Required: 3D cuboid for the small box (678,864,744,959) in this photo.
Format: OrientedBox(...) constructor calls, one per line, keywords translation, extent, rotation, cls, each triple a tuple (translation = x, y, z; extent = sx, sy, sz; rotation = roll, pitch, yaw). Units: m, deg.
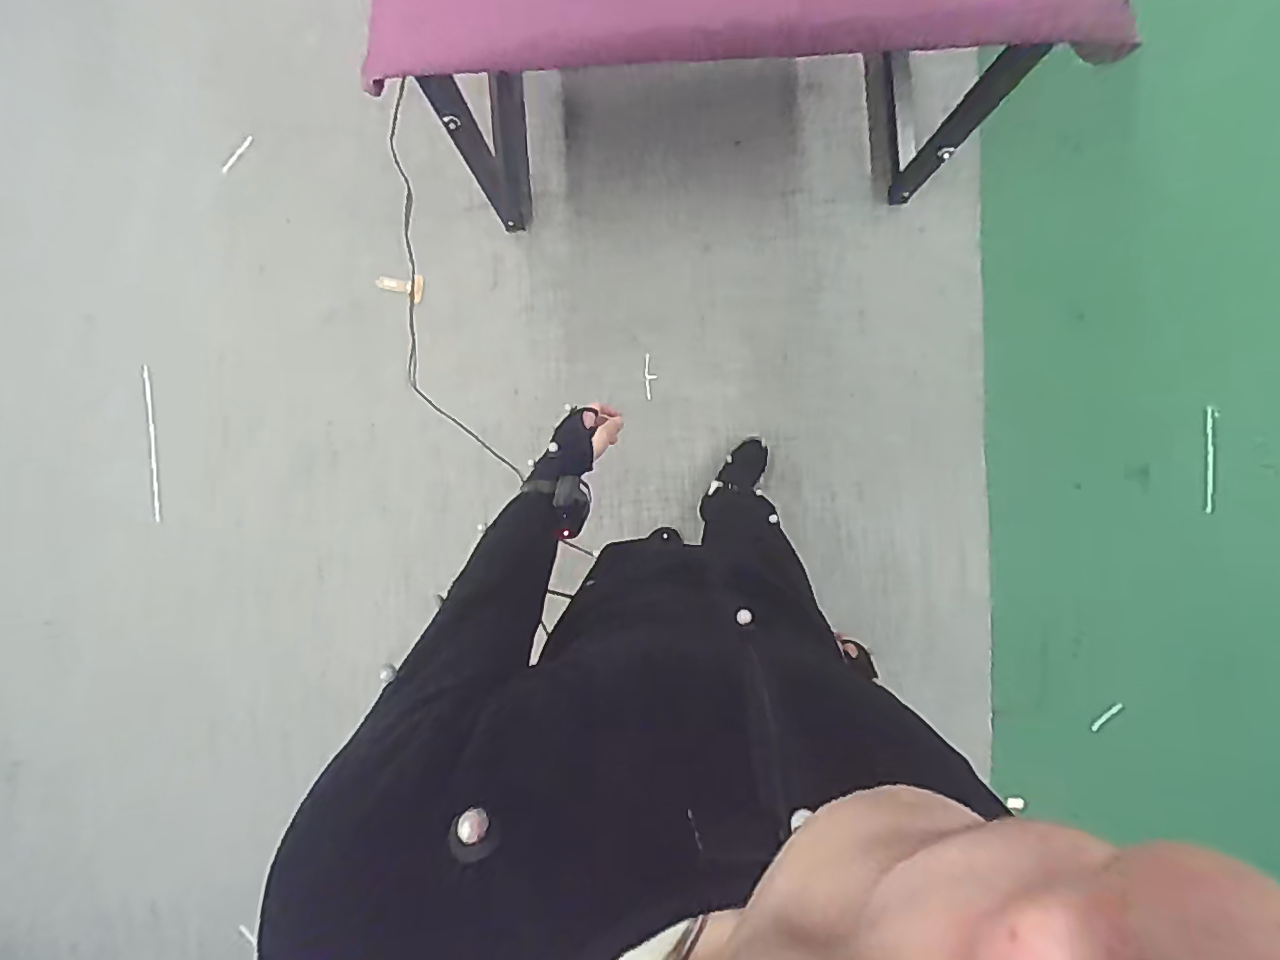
OrientedBox(translation=(0.197, 1.238, 1.547), extent=(0.179, 0.176, 0.168), rotation=(-2, 92, 1), cls="small box")
